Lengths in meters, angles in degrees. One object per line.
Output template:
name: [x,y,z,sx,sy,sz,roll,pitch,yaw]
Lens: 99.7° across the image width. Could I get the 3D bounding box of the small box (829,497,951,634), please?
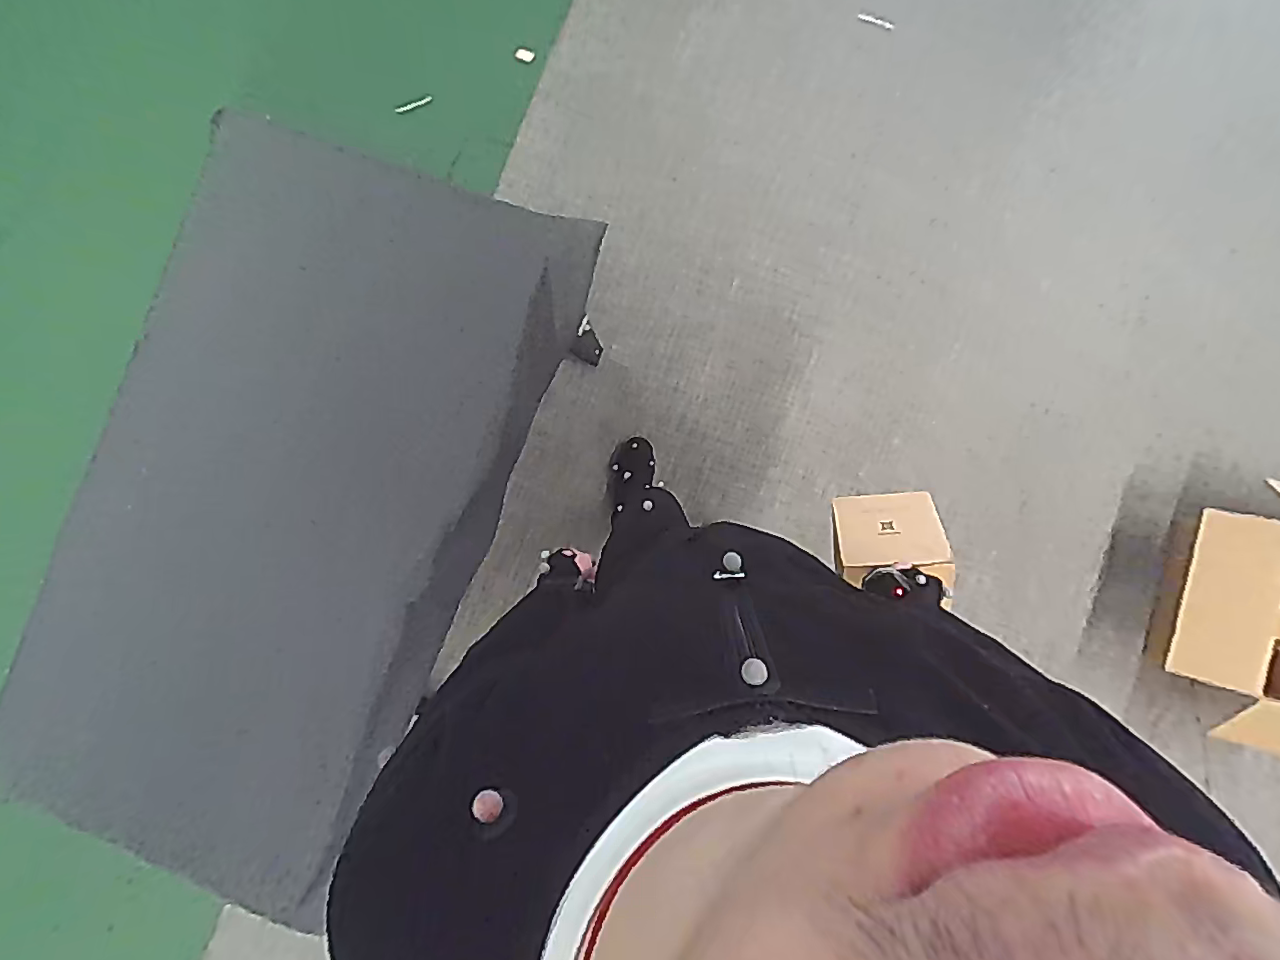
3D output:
small box: [0.425,0.150,0.947,0.168,0.179,0.176,-2,126,15]
